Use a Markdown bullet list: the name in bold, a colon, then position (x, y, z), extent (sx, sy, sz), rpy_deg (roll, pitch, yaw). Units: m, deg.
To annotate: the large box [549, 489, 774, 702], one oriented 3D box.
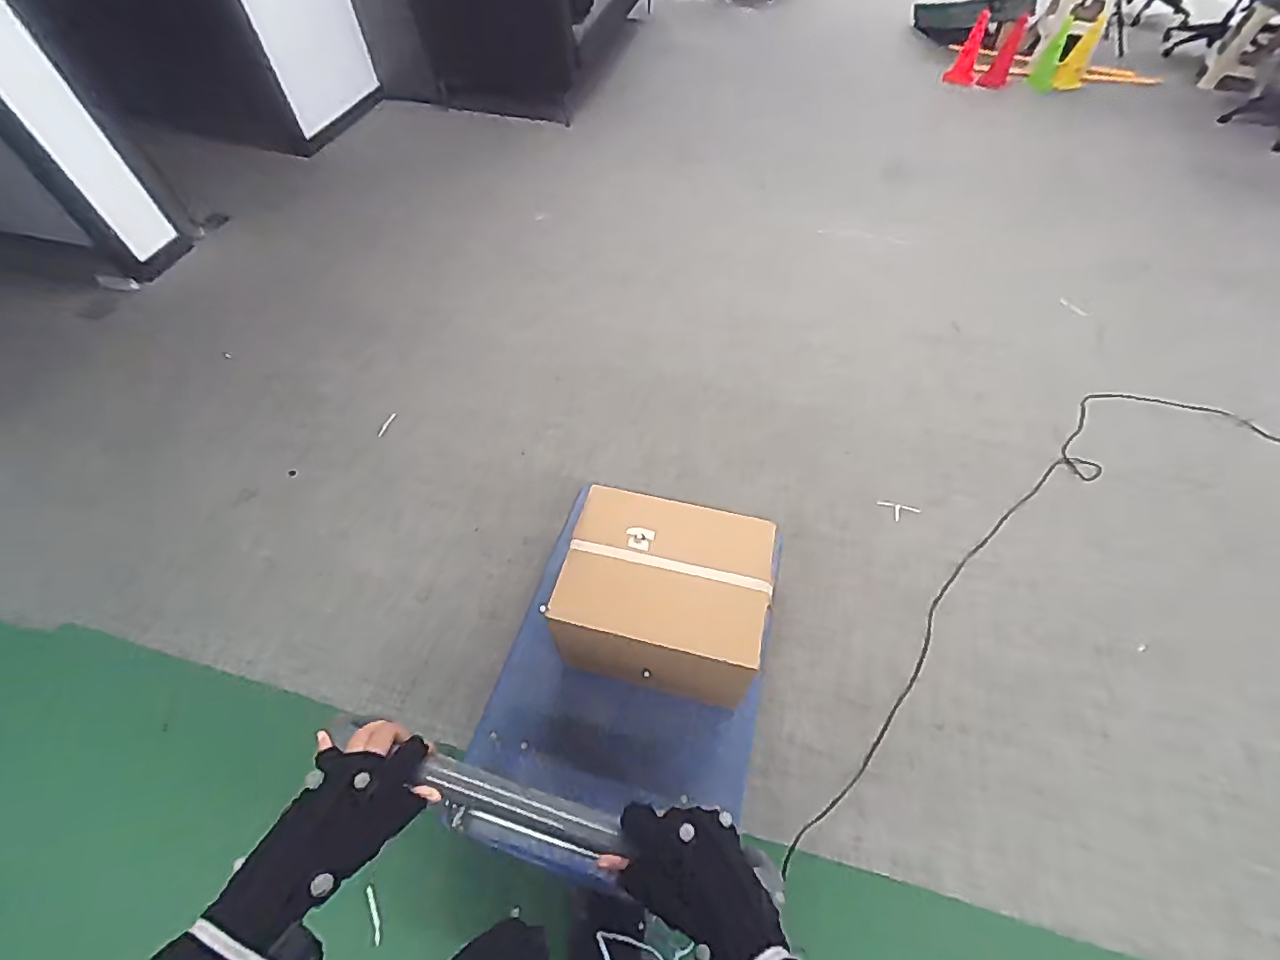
- **large box**: position (0.058, 0.261, 1.197), extent (0.408, 0.320, 0.320), rpy_deg (11, 55, 9)
